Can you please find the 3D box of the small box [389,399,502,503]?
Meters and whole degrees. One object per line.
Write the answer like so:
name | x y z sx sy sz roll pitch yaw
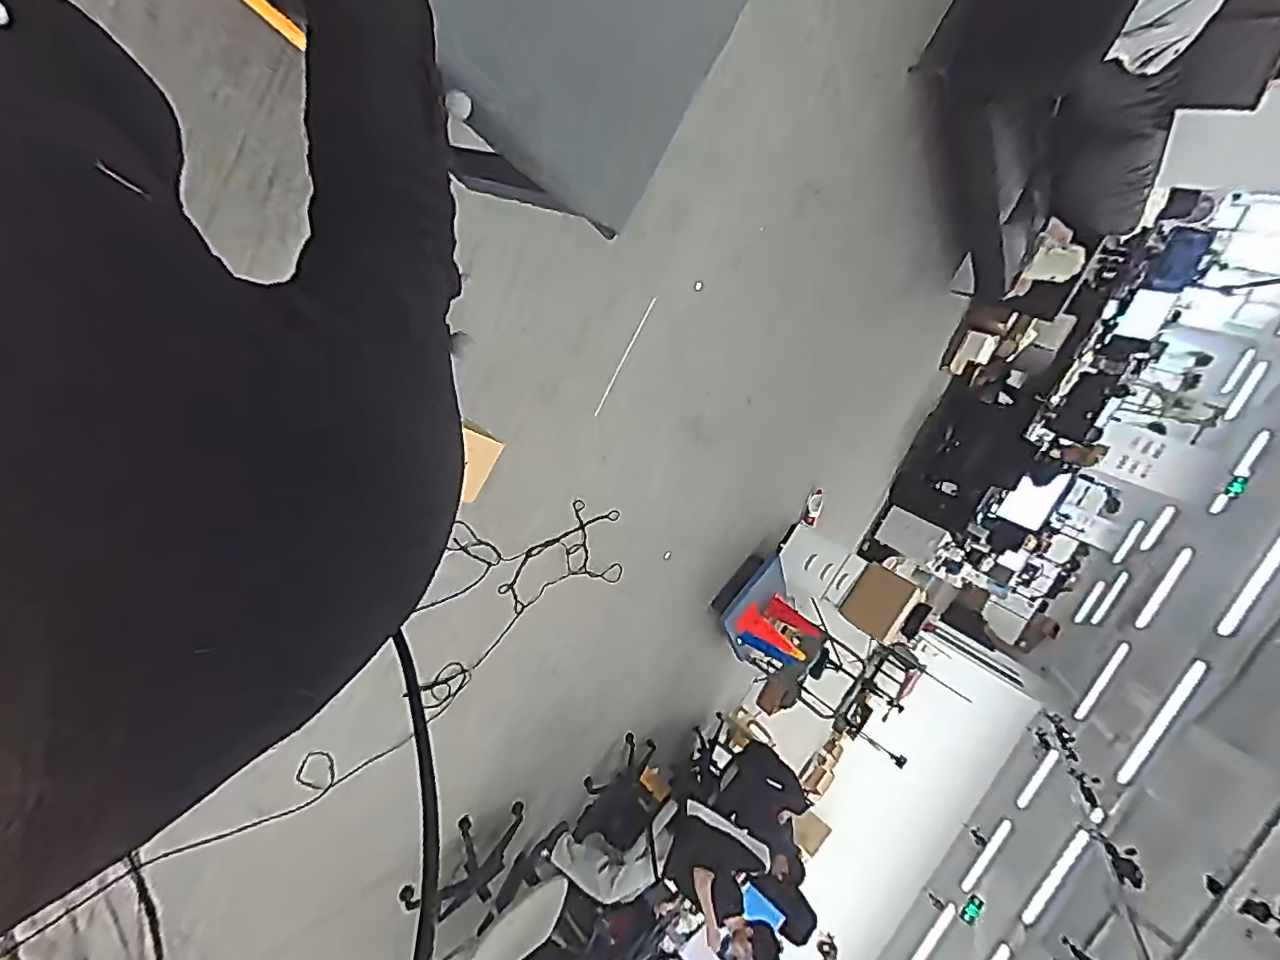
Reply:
small box | -0.479 -0.070 1.316 0.168 0.176 0.179 25 96 -56
